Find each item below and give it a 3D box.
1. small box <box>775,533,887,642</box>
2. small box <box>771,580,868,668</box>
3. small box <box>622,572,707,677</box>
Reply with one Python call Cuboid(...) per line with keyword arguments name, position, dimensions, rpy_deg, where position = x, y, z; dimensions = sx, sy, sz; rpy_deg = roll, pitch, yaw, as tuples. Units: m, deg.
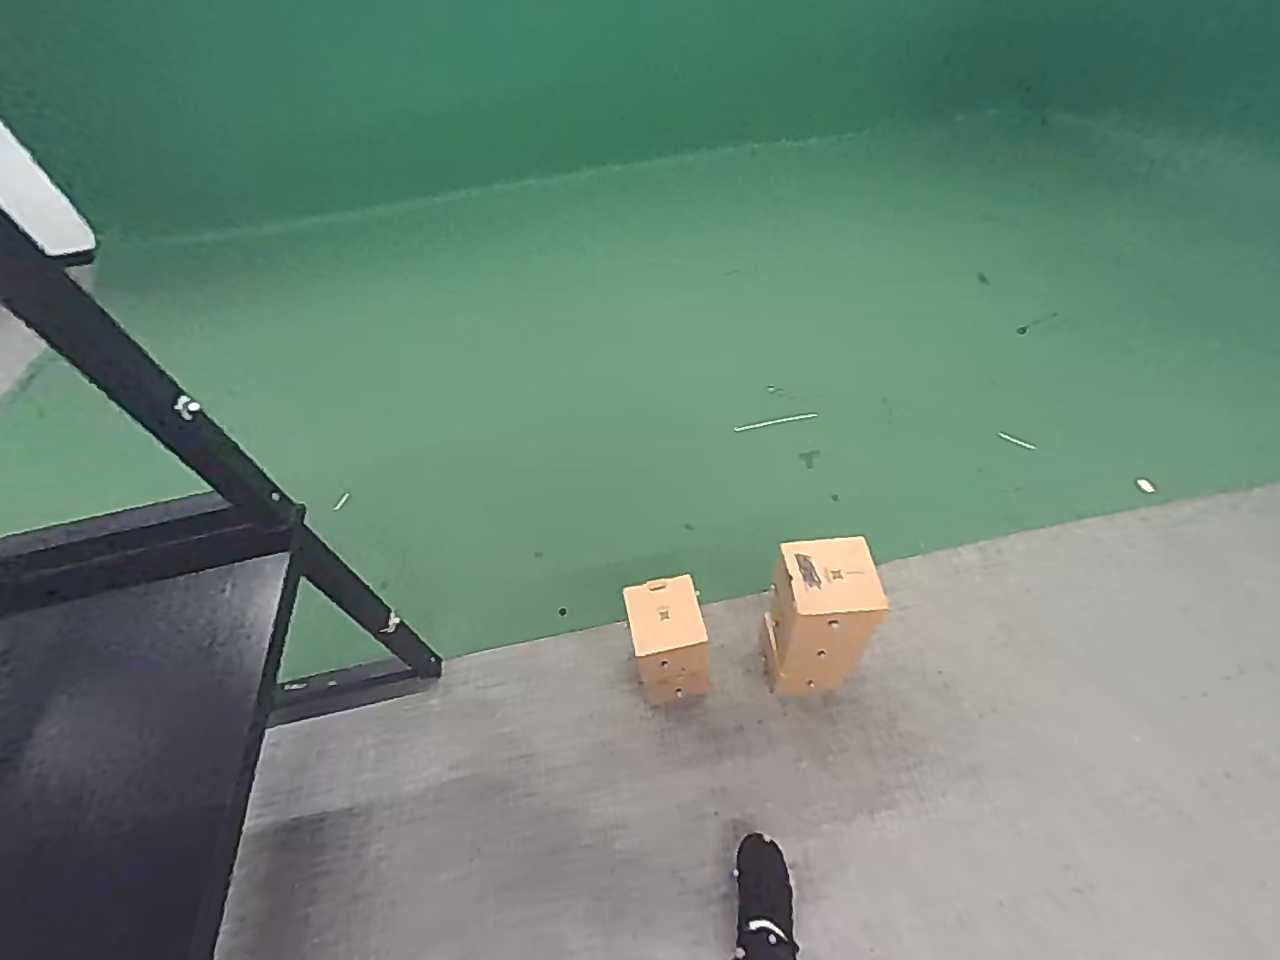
Cuboid(name="small box", position=(0.387, 0.230, 1.134), dimensions=(0.179, 0.176, 0.168), rpy_deg=(-5, 51, 2))
Cuboid(name="small box", position=(0.407, 0.330, 1.262), dimensions=(0.179, 0.176, 0.168), rpy_deg=(-3, 52, 4))
Cuboid(name="small box", position=(0.060, 0.351, 1.286), dimensions=(0.168, 0.176, 0.179), rpy_deg=(-13, 50, -3))
